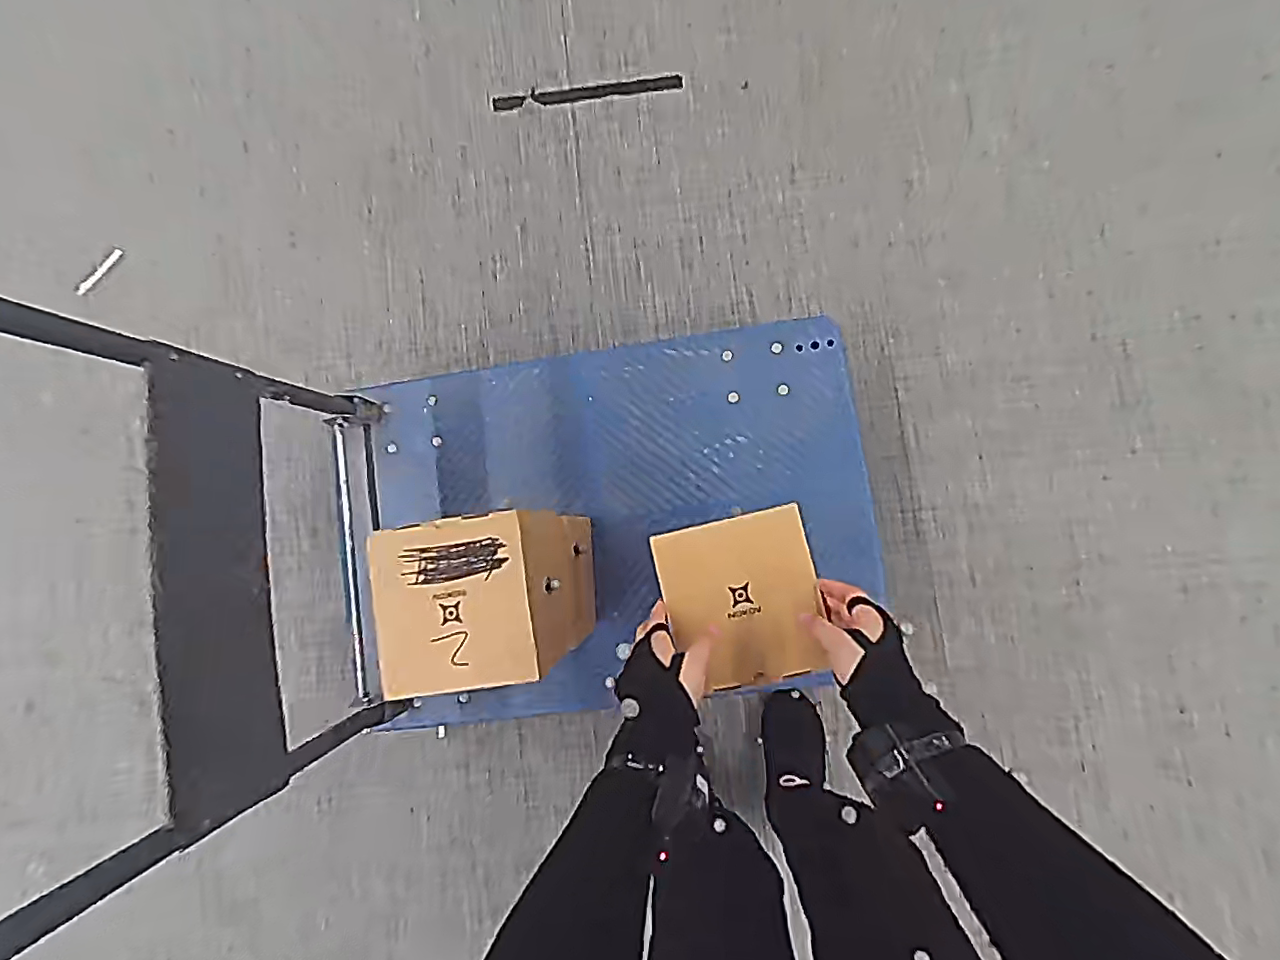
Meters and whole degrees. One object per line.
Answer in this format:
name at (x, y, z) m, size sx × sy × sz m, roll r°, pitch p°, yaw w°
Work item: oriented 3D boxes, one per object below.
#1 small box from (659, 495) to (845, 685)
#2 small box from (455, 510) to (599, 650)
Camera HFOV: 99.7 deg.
small box at (0.127, 0.127, 0.659) m, size 0.168 × 0.176 × 0.179 m, roll -15°, pitch 82°, yaw 6°
small box at (-0.157, 0.139, 0.790) m, size 0.168 × 0.176 × 0.179 m, roll -4°, pitch 86°, yaw 5°
